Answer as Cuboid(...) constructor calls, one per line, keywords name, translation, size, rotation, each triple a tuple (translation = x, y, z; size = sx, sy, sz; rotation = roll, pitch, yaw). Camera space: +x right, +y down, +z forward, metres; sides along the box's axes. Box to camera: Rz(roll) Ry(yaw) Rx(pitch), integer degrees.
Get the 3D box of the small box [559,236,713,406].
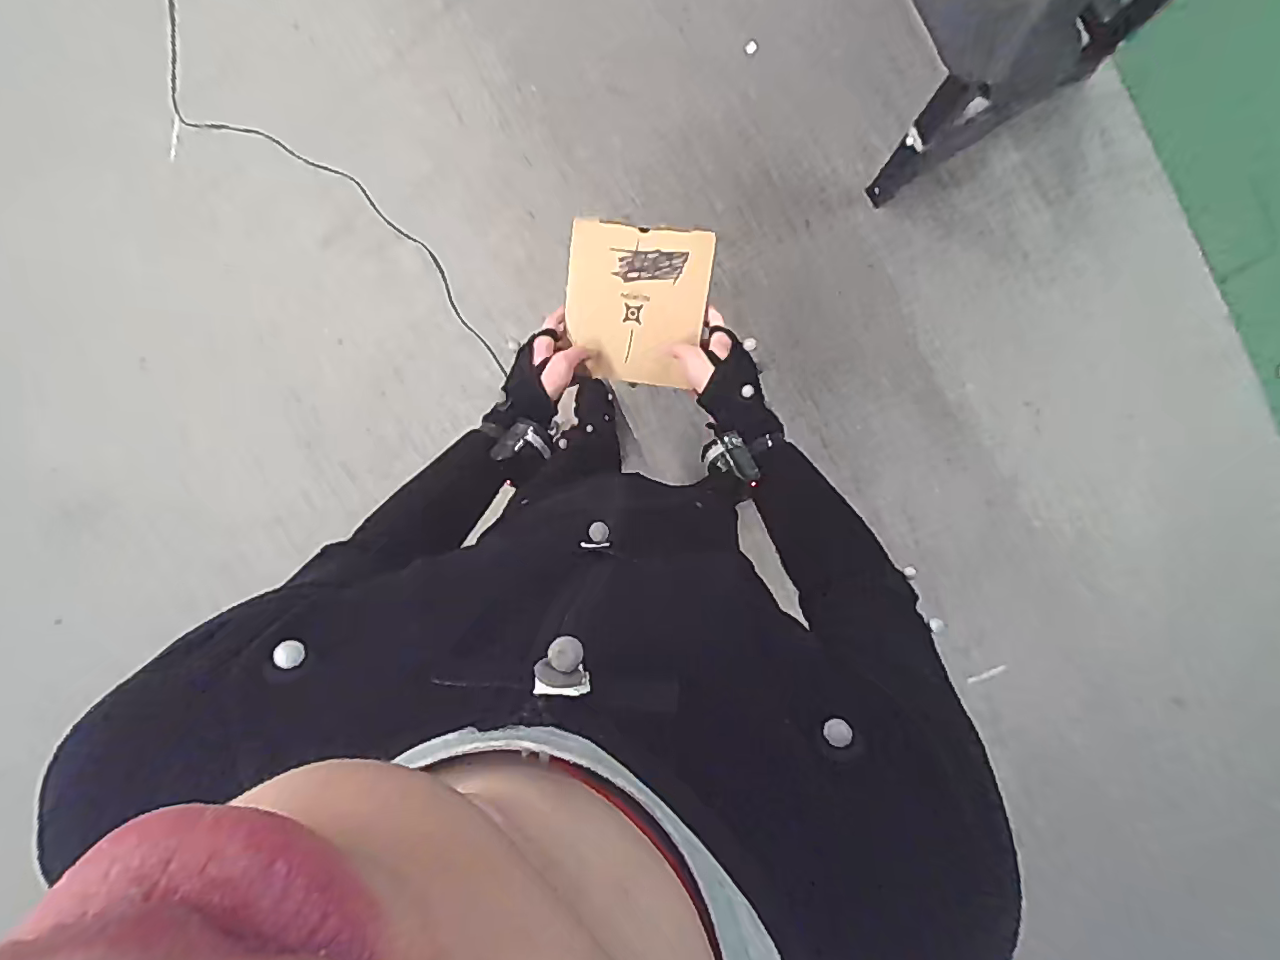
Cuboid(name="small box", translation=(0.001, -0.202, 0.702), size=(0.168, 0.176, 0.179), rotation=(8, 106, 6))
